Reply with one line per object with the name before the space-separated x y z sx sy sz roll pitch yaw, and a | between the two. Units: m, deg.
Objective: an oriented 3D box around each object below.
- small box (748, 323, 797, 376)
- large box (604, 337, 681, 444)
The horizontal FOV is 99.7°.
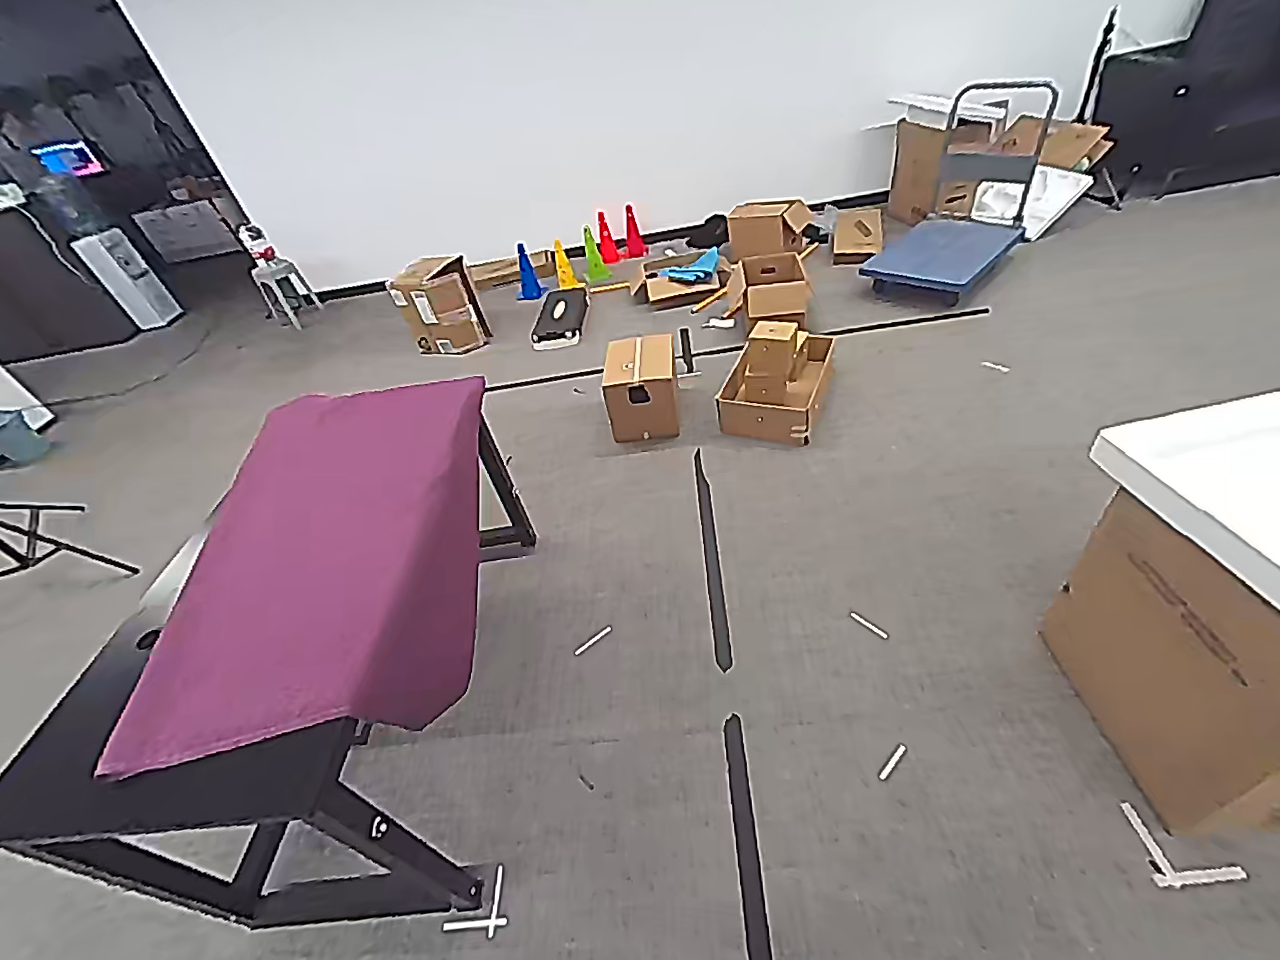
small box | 0.577 -0.570 2.357 0.179 0.176 0.168 12 44 24
large box | 0.019 -0.424 2.548 0.320 0.320 0.408 -7 42 8
